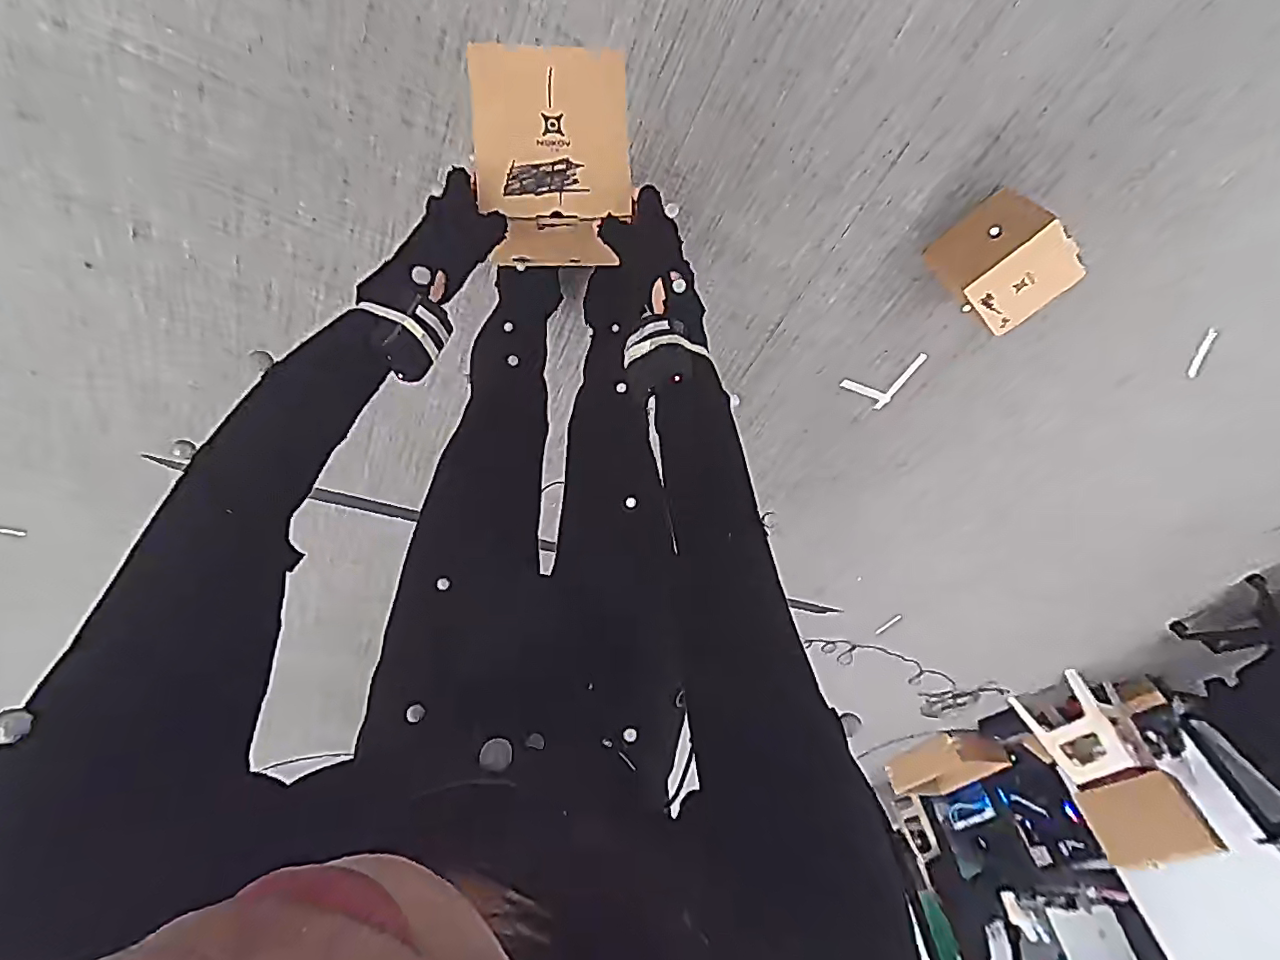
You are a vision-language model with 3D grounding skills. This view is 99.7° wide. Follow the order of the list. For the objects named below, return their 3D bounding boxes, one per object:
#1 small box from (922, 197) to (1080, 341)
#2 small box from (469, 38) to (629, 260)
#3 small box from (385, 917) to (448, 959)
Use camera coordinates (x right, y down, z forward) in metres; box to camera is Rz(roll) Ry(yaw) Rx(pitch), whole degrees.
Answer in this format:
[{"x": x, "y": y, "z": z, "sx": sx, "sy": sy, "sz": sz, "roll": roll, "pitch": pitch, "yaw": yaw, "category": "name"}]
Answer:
[{"x": 0.707, "y": -0.420, "z": 1.073, "sx": 0.168, "sy": 0.176, "sz": 0.179, "roll": 30, "pitch": 123, "yaw": -31, "category": "small box"}, {"x": -0.104, "y": -0.376, "z": 0.650, "sx": 0.168, "sy": 0.176, "sz": 0.179, "roll": -3, "pitch": 94, "yaw": -8, "category": "small box"}, {"x": -0.740, "y": 1.558, "z": 1.778, "sx": 0.168, "sy": 0.176, "sz": 0.179, "roll": 14, "pitch": 130, "yaw": -23, "category": "small box"}]
